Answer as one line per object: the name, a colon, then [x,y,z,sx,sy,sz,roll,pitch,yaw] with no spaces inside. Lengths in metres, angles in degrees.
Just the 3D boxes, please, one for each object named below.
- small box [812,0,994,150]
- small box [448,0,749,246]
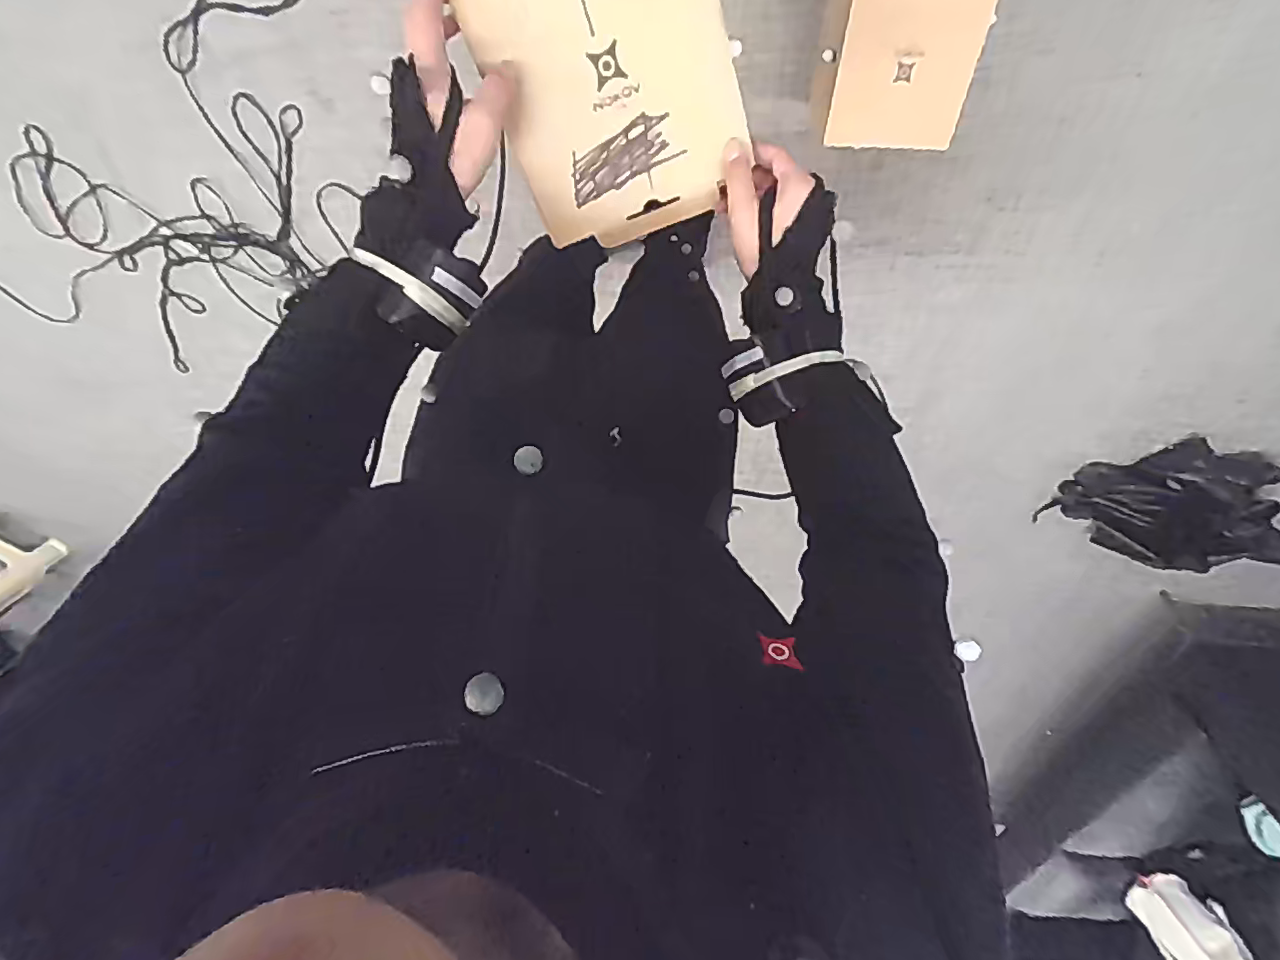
small box: [0.336,-0.565,0.730,0.168,0.176,0.179,5,131,5]
small box: [-0.018,-0.322,0.434,0.168,0.176,0.179,-15,124,14]
